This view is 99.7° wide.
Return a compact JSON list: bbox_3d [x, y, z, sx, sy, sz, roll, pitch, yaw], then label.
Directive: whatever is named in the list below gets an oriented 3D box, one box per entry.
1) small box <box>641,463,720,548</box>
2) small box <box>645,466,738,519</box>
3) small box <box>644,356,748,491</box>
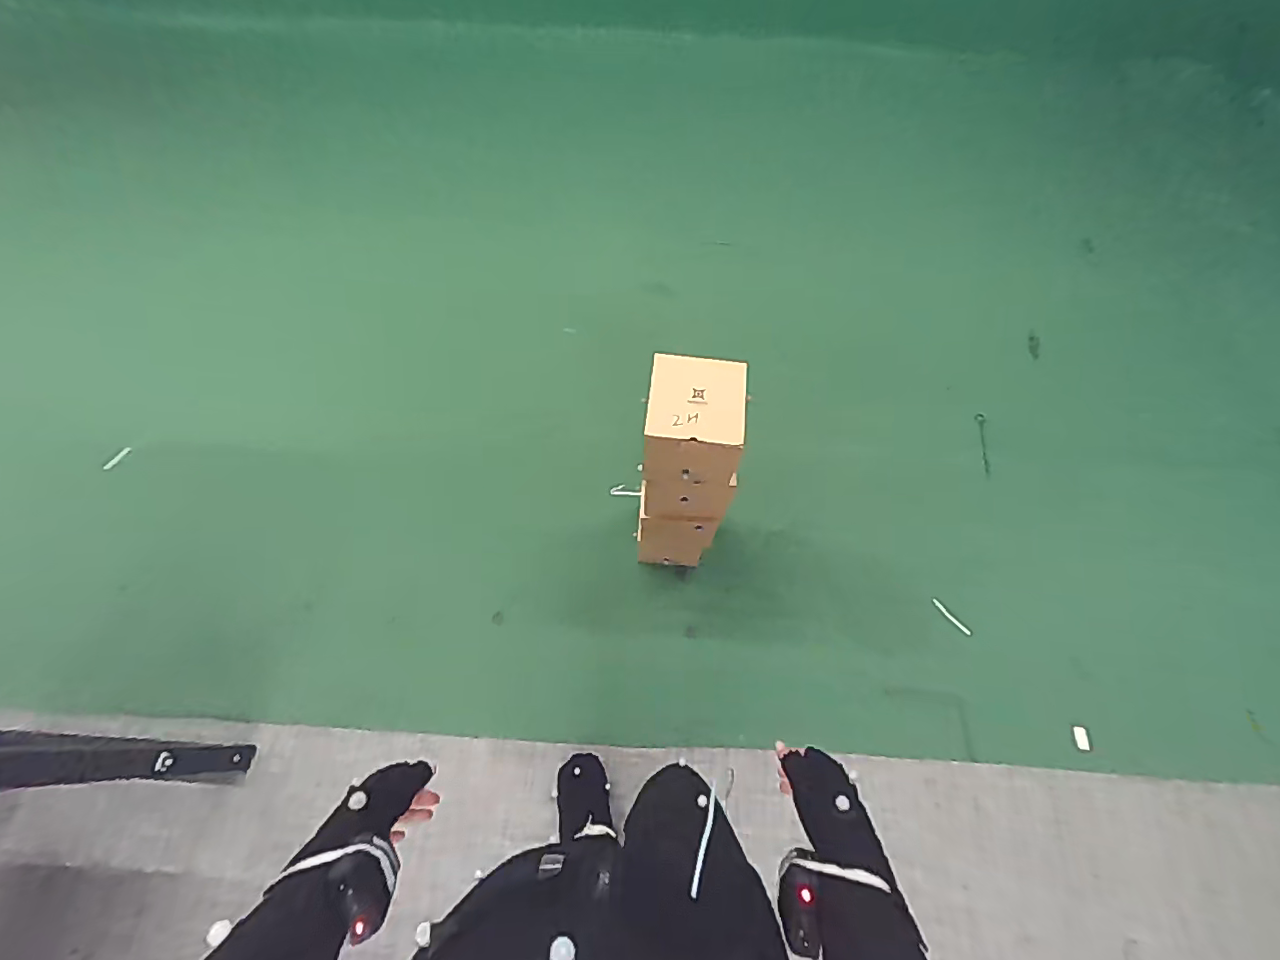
[{"bbox_3d":[0.093,0.056,1.286,0.179,0.176,0.168,4,64,0],"label":"small box"},{"bbox_3d":[0.103,-0.024,1.143,0.179,0.176,0.168,2,64,0],"label":"small box"},{"bbox_3d":[0.098,-0.100,0.996,0.168,0.176,0.179,7,64,2],"label":"small box"}]
